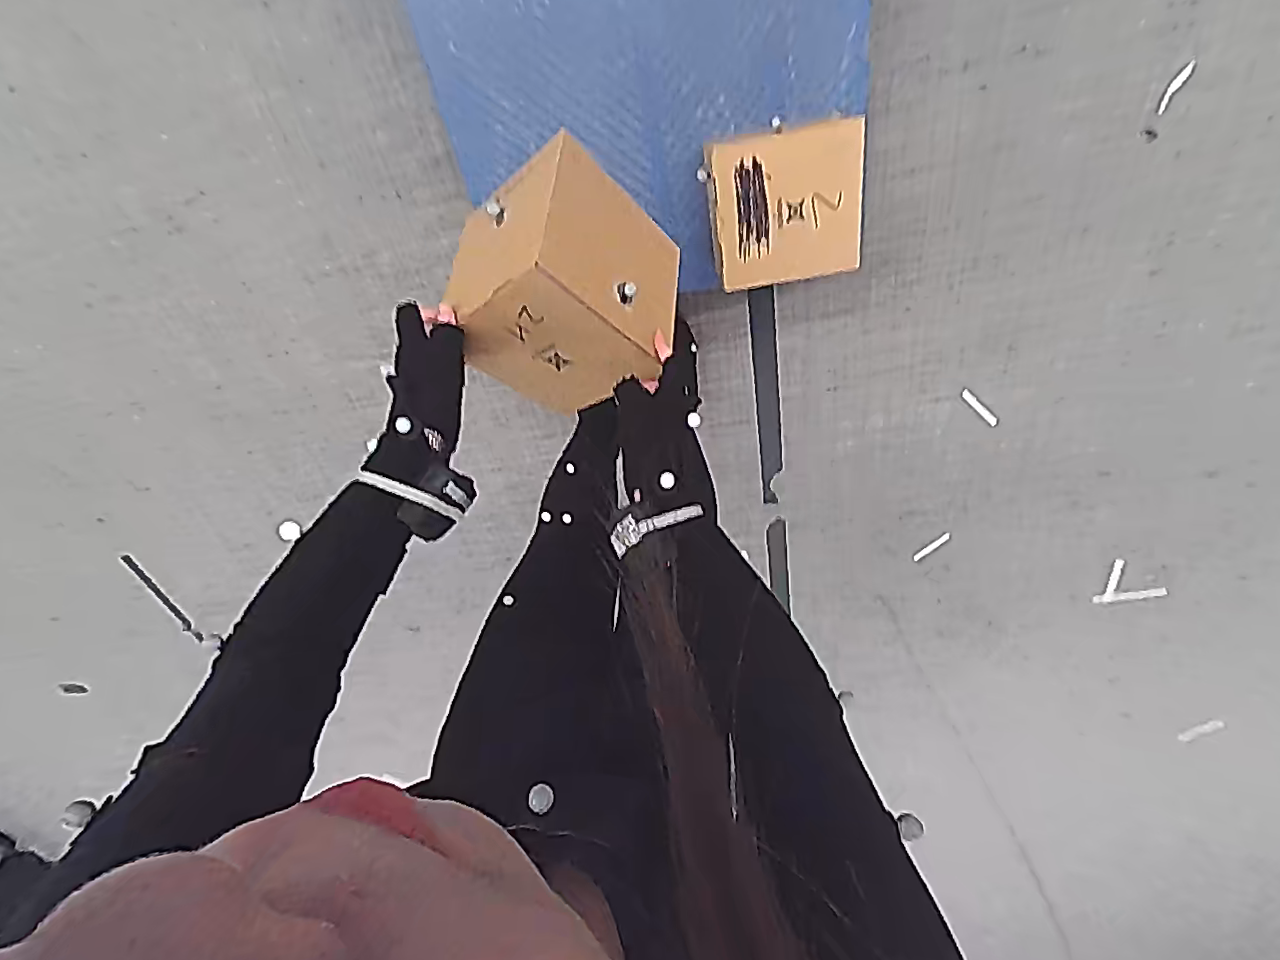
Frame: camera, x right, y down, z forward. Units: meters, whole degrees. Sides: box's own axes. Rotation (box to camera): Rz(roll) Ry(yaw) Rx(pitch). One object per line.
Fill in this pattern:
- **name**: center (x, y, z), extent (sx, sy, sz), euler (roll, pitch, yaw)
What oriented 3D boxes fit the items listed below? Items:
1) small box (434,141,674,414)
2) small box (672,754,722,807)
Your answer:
- **small box**: center (-0.078, -0.196, 0.563), extent (0.168, 0.176, 0.179), euler (-16, 149, 40)
- **small box**: center (0.212, 1.140, 1.999), extent (0.168, 0.176, 0.179), euler (-8, 123, 8)
